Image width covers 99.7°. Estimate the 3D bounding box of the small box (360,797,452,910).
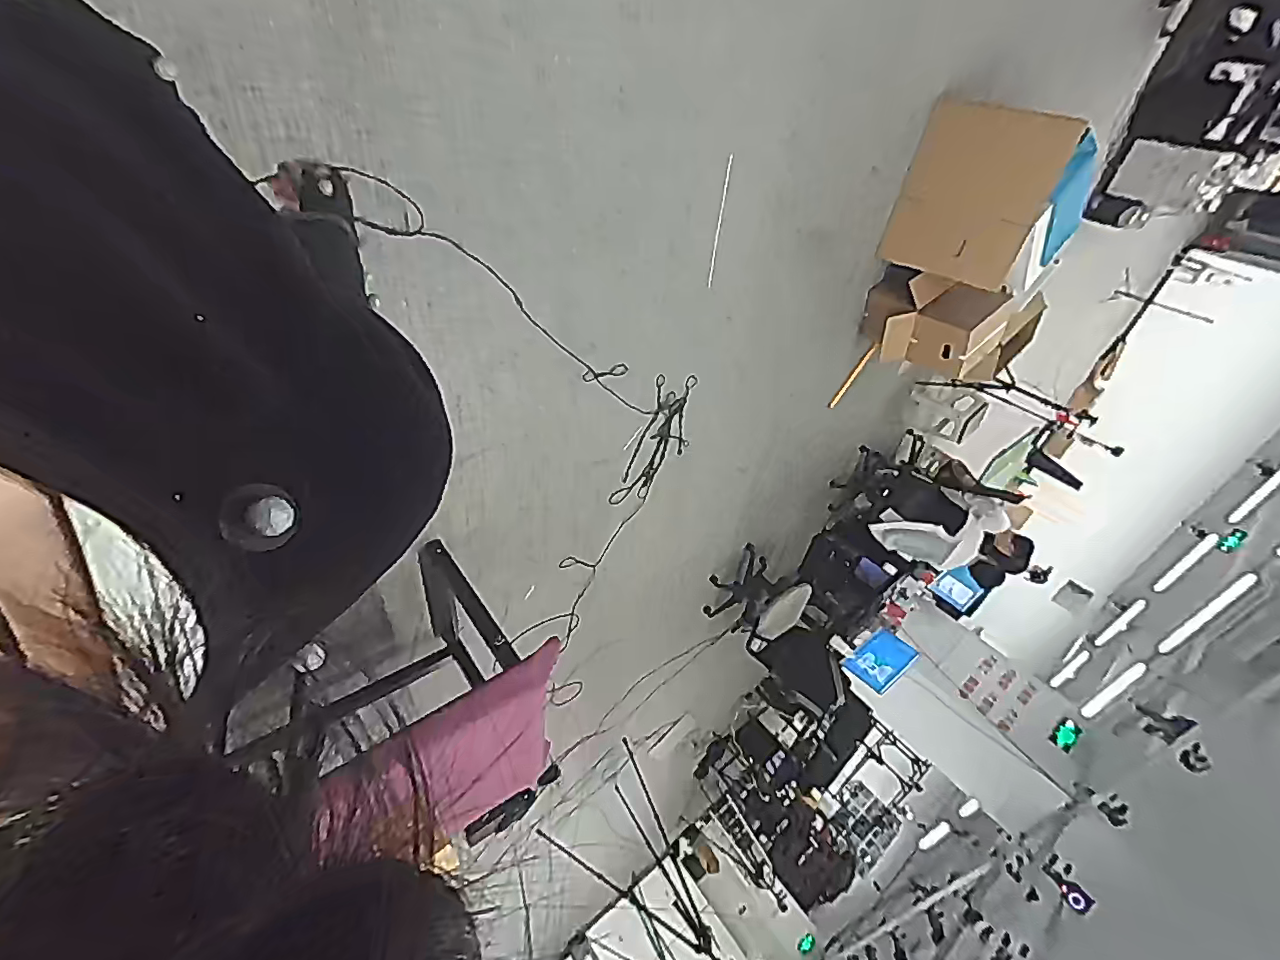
[{"bbox_3d":[-0.632,1.005,1.467,0.168,0.176,0.179,-25,139,-32],"label":"small box"}]
